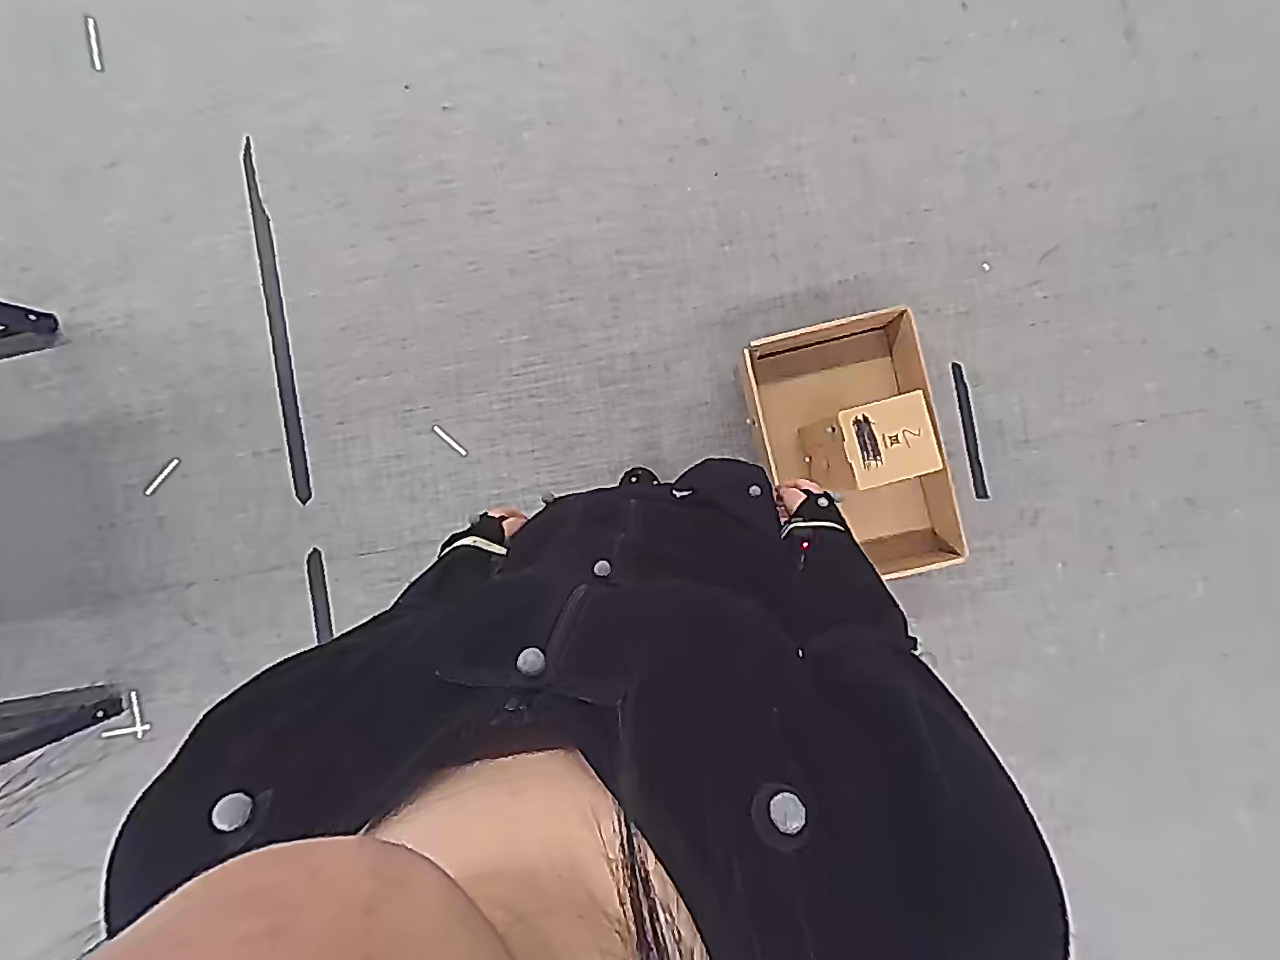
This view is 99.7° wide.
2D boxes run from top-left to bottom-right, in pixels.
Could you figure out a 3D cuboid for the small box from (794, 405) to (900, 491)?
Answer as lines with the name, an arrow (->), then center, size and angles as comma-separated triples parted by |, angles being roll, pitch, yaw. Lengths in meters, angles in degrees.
small box -> 0.499, -0.076, 1.325 | 0.179, 0.176, 0.168 | -15, 89, 3
